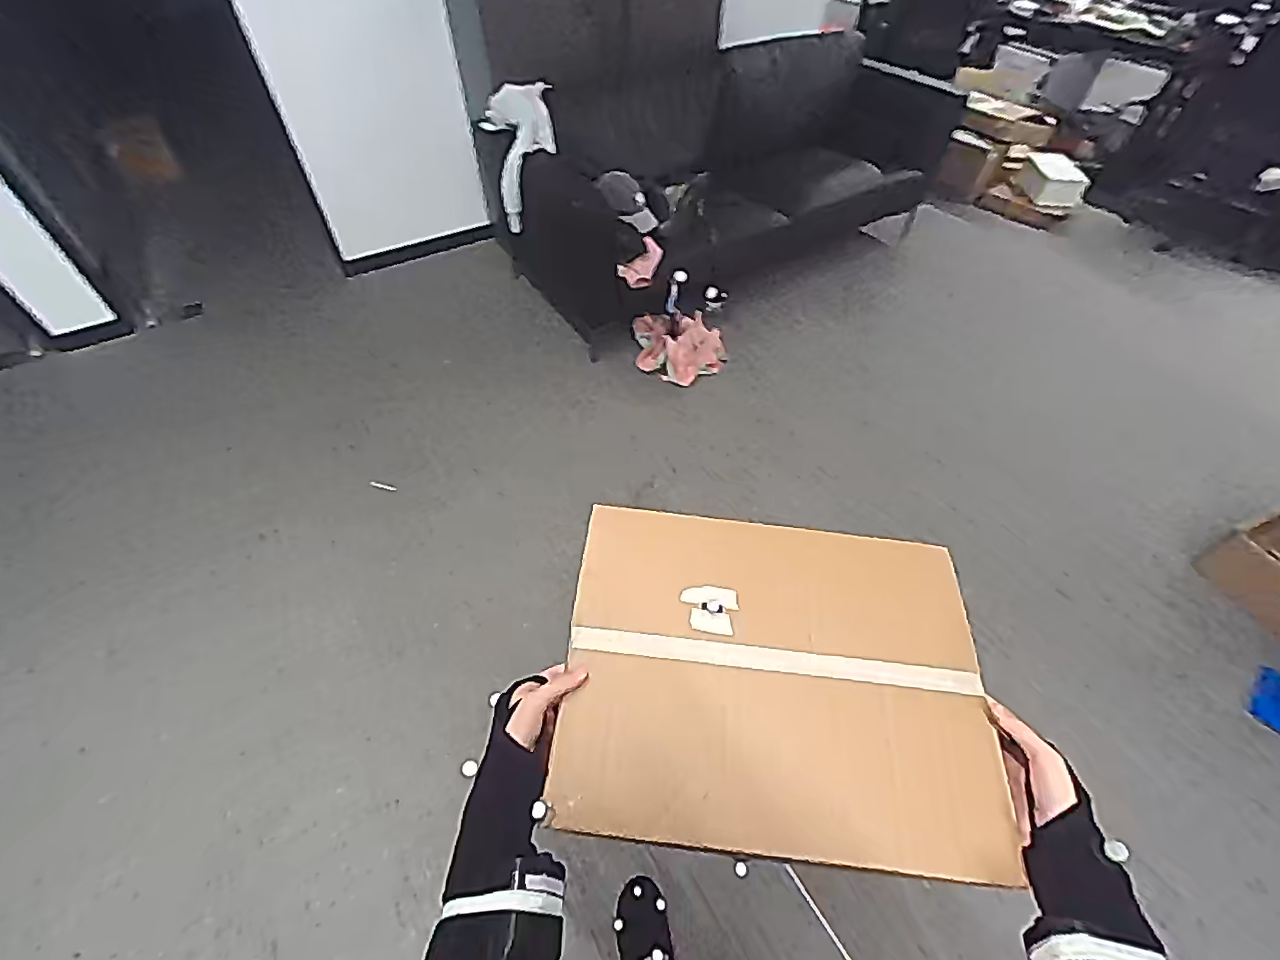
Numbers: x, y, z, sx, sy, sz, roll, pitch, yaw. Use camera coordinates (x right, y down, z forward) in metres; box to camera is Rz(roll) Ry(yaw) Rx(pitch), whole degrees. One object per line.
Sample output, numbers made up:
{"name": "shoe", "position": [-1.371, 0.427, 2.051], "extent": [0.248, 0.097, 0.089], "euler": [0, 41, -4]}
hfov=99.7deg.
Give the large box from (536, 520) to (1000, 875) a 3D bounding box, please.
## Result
{"name": "large box", "position": [0.115, 0.270, 0.662], "extent": [0.408, 0.320, 0.320], "euler": [5, 55, 1]}
